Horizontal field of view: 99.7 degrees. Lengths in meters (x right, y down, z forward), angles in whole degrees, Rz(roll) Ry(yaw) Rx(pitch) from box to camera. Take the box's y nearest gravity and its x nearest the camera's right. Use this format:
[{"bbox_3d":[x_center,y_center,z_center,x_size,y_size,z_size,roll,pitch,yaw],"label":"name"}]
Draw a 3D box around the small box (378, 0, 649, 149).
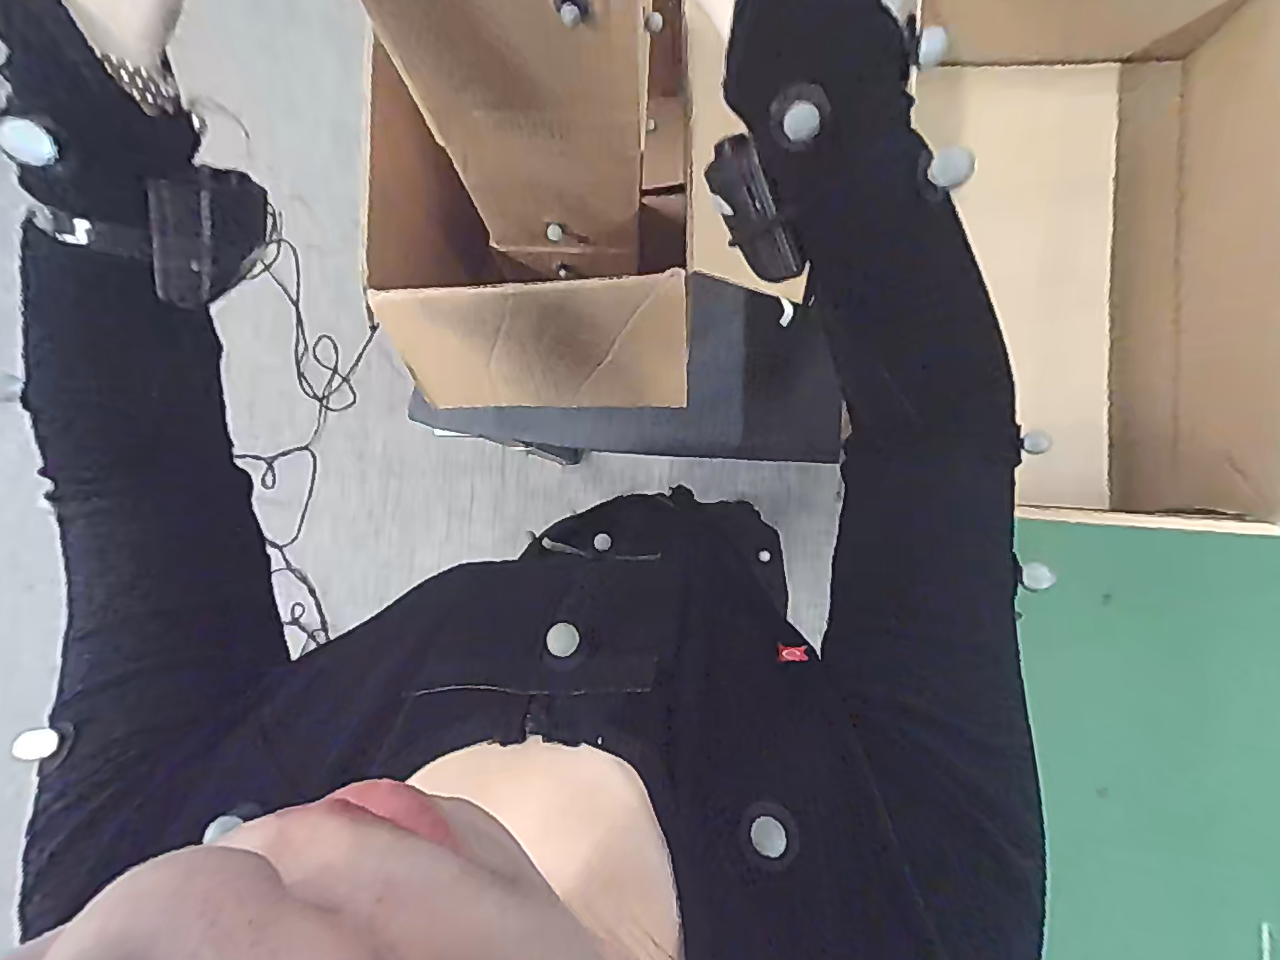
[{"bbox_3d":[-0.083,-0.369,0.385,0.179,0.176,0.168,3,86,-1],"label":"small box"}]
